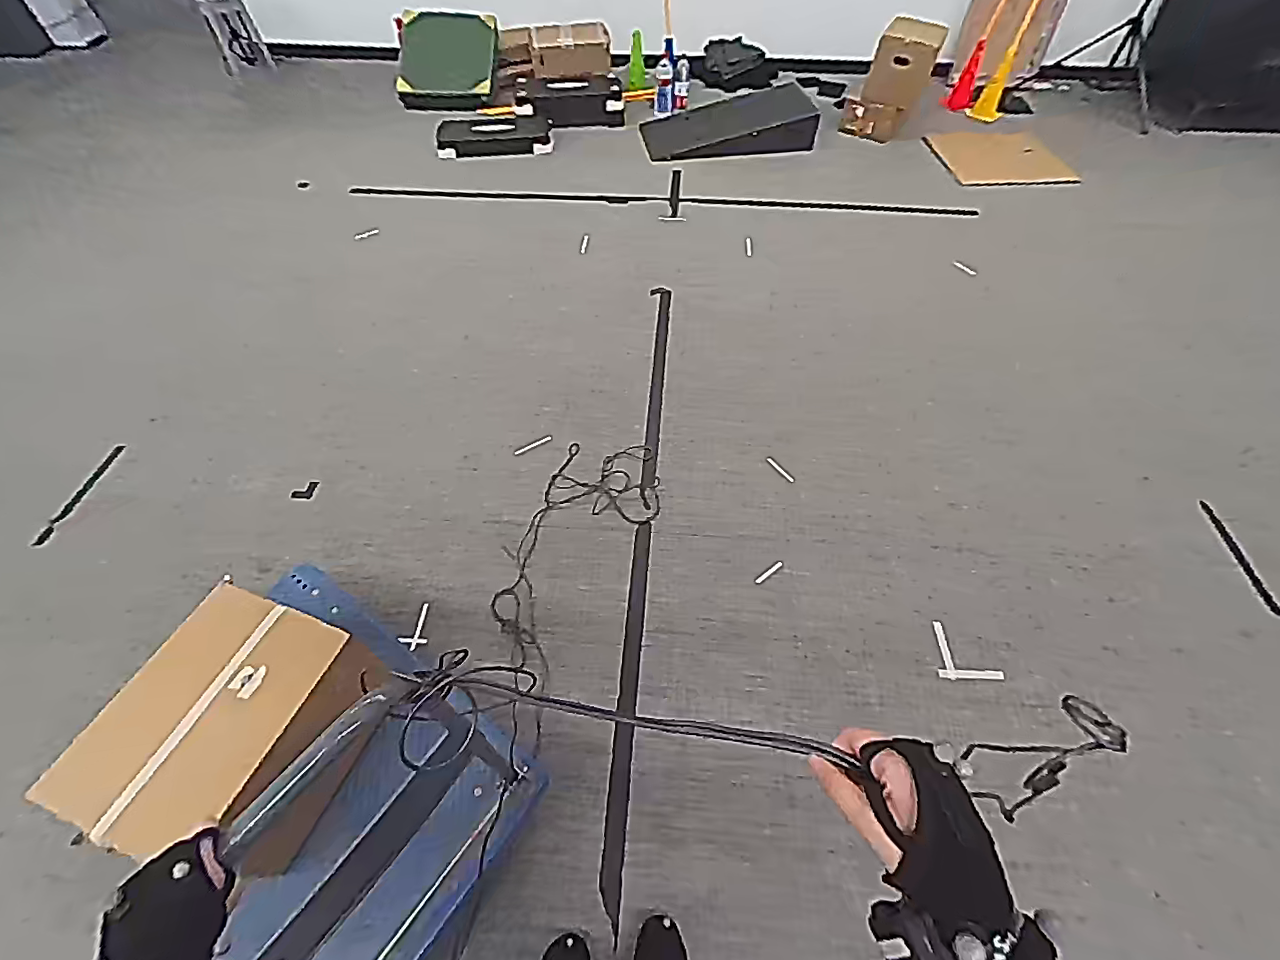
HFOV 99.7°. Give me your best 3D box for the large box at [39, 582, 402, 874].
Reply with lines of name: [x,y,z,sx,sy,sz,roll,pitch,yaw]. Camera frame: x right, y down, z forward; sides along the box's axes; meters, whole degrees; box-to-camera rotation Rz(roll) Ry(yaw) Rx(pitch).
large box: [-0.755,0.483,1.059,0.320,0.320,0.408,18,56,11]
